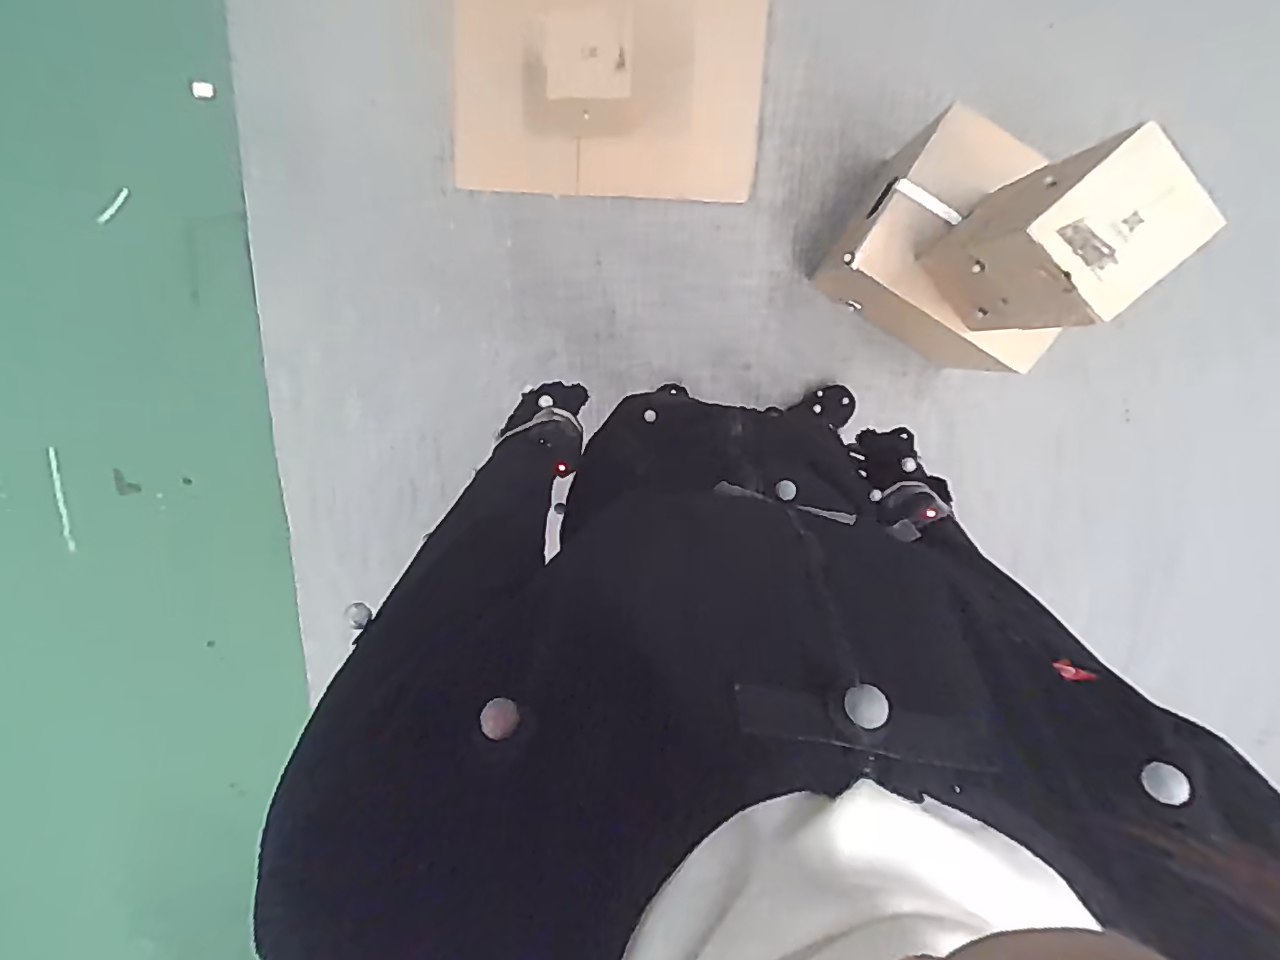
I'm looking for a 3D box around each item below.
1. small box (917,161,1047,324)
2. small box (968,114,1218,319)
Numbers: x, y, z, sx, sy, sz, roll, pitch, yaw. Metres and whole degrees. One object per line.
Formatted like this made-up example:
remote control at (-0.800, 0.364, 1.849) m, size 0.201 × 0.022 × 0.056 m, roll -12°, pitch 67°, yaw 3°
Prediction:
small box at (0.611, -0.381, 0.904) m, size 0.168 × 0.176 × 0.179 m, roll -43°, pitch 96°, yaw 11°
small box at (0.595, -0.340, 0.745) m, size 0.168 × 0.176 × 0.179 m, roll 43°, pitch 103°, yaw -7°
